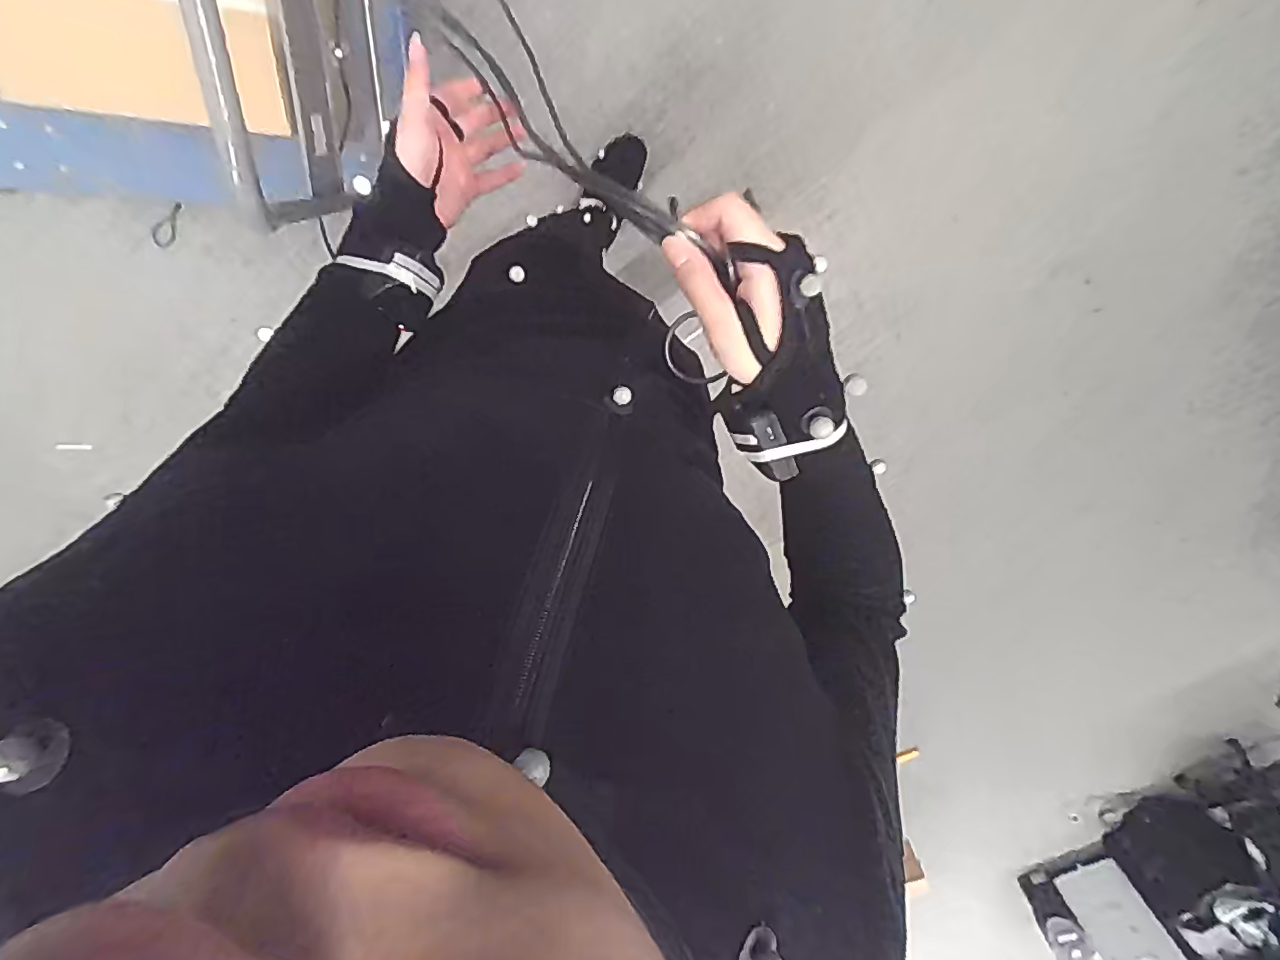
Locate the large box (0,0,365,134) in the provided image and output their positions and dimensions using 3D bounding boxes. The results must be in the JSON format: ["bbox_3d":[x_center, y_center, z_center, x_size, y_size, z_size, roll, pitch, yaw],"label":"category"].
[{"bbox_3d":[-0.720,-0.750,0.859,0.408,0.320,0.320,3,120,-7],"label":"large box"}]
